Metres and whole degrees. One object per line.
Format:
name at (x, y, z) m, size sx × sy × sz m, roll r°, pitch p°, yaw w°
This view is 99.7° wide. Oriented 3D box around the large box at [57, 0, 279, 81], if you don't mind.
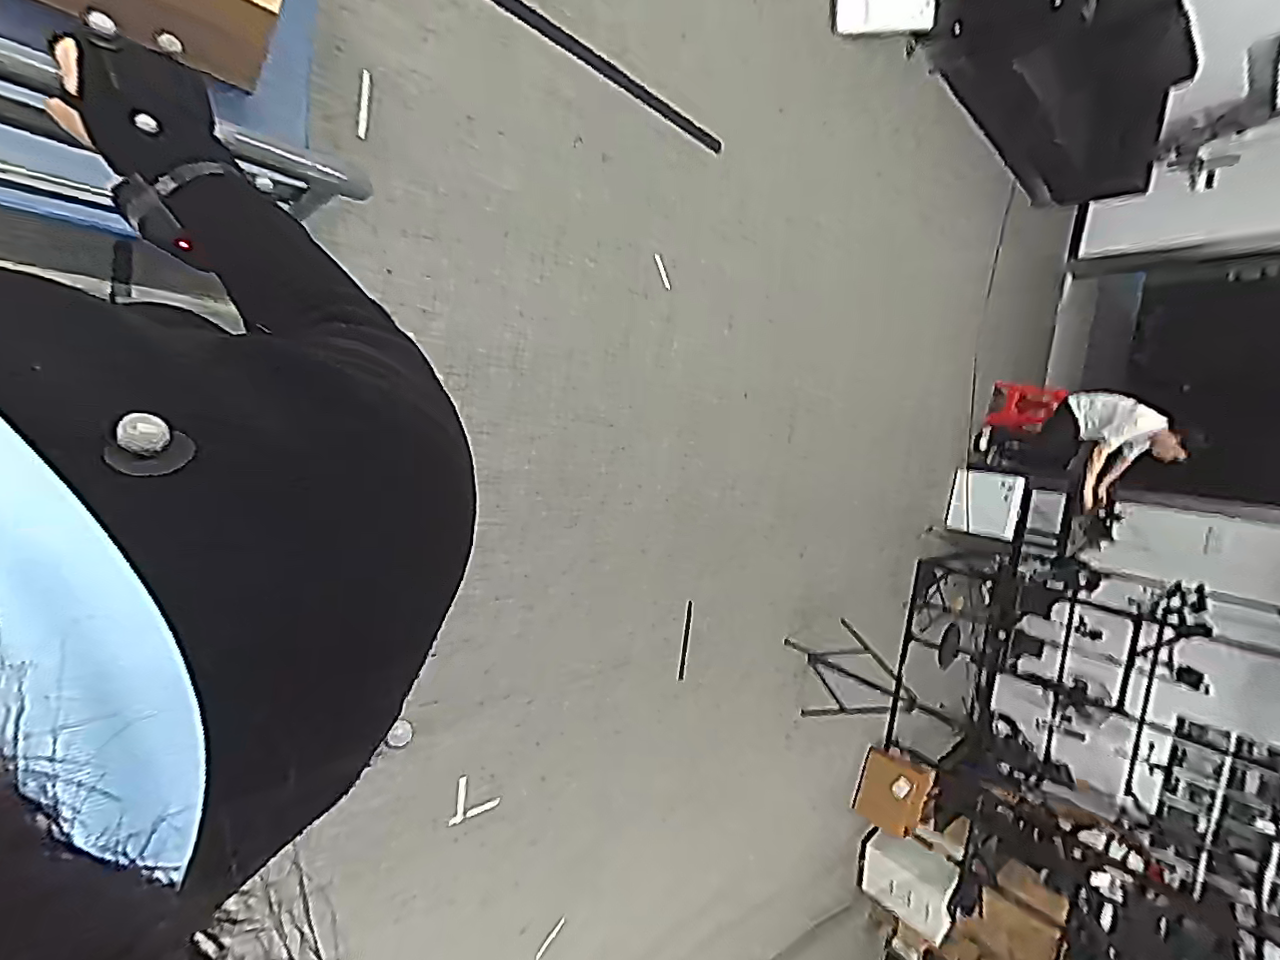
large box at (-0.745, -0.861, 0.745) m, size 0.408 × 0.320 × 0.320 m, roll 4°, pitch 96°, yaw -41°
